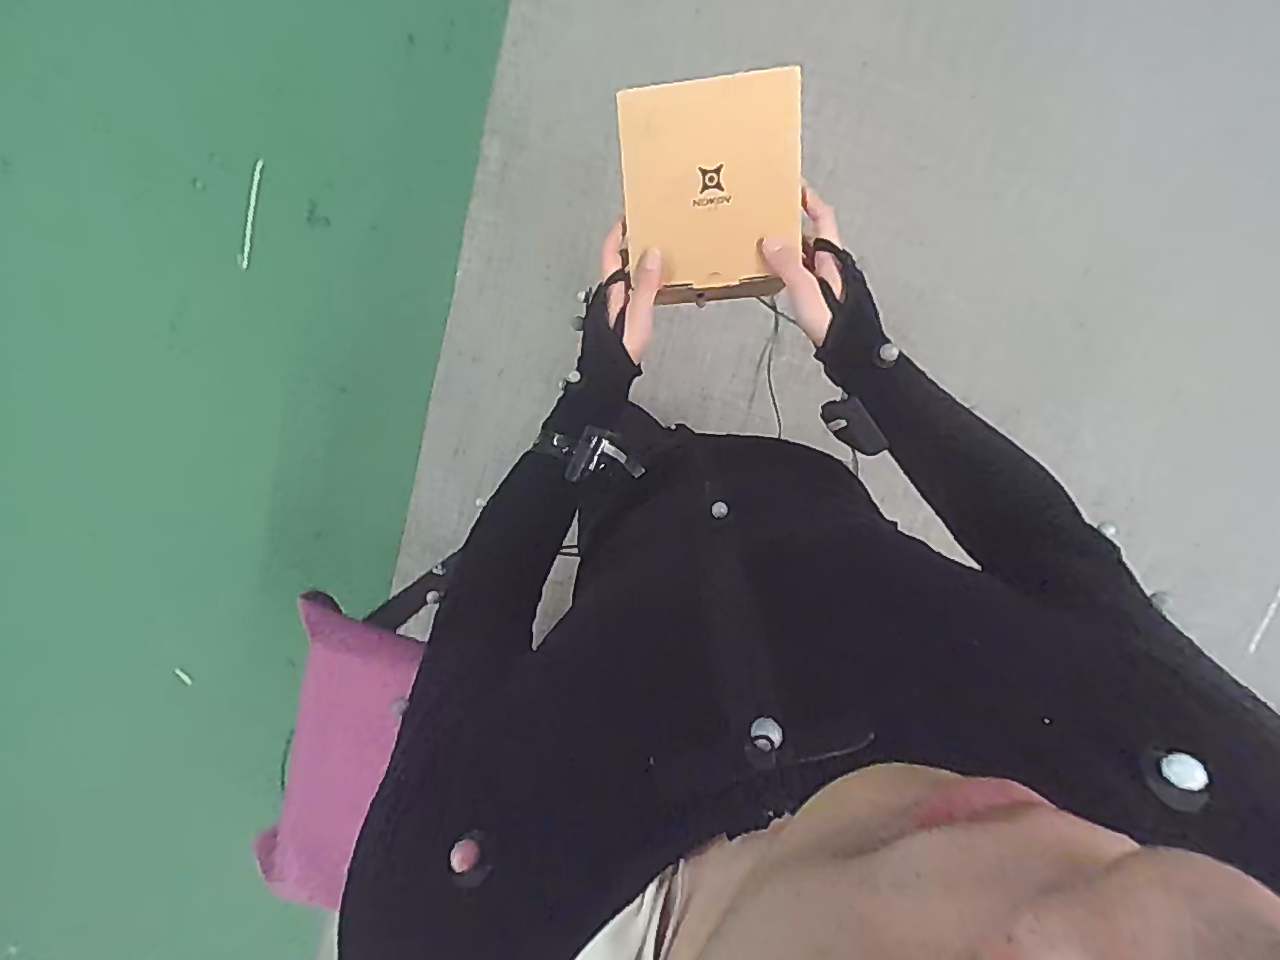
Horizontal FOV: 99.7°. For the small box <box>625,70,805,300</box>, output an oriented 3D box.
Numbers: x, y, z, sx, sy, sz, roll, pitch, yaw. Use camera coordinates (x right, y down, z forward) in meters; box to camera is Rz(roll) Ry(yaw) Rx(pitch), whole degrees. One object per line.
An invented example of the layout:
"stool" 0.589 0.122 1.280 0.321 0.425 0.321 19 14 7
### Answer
"small box" 0.077 -0.296 0.582 0.168 0.176 0.179 -2 105 7
